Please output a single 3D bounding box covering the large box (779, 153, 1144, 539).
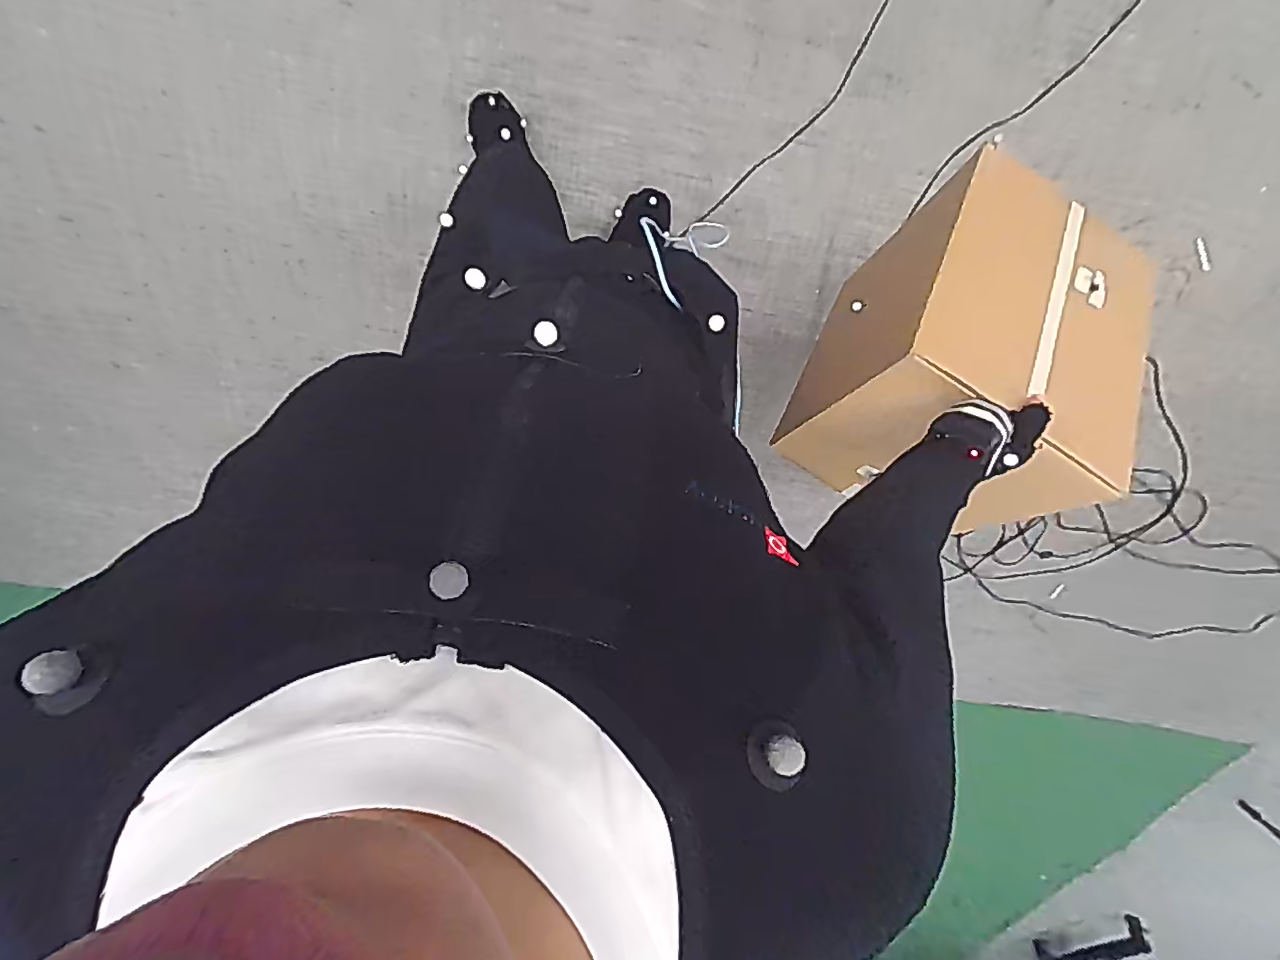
[{"bbox_3d":[0.471,-0.175,0.825,0.320,0.408,0.320,32,157,-7],"label":"large box"}]
